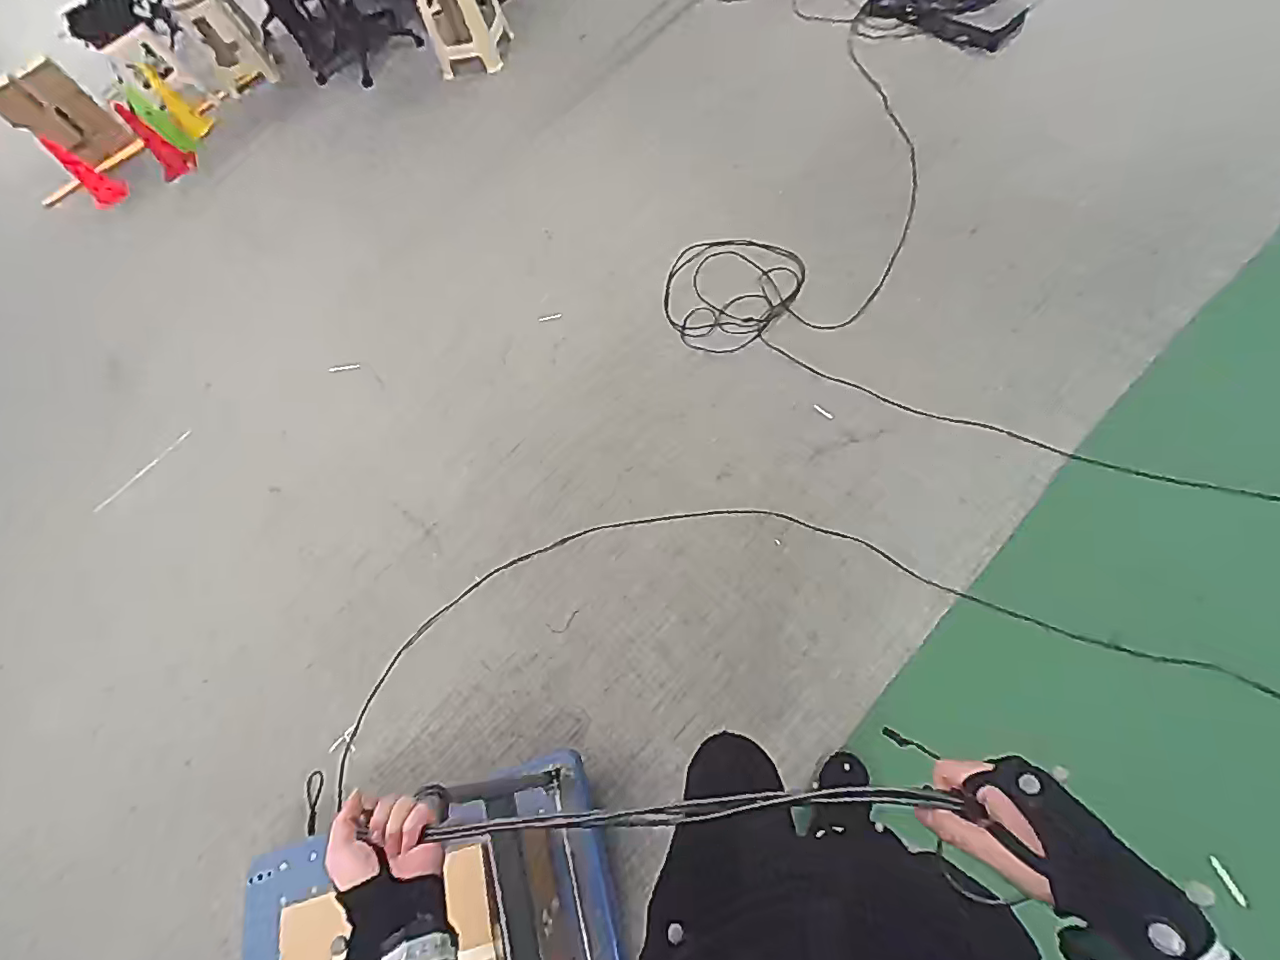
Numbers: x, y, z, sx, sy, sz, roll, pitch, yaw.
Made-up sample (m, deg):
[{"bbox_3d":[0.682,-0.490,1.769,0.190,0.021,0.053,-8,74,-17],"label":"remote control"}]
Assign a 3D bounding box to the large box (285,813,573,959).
[{"bbox_3d":[-0.389,0.899,1.048,0.408,0.320,0.320,-21,63,4],"label":"large box"}]
